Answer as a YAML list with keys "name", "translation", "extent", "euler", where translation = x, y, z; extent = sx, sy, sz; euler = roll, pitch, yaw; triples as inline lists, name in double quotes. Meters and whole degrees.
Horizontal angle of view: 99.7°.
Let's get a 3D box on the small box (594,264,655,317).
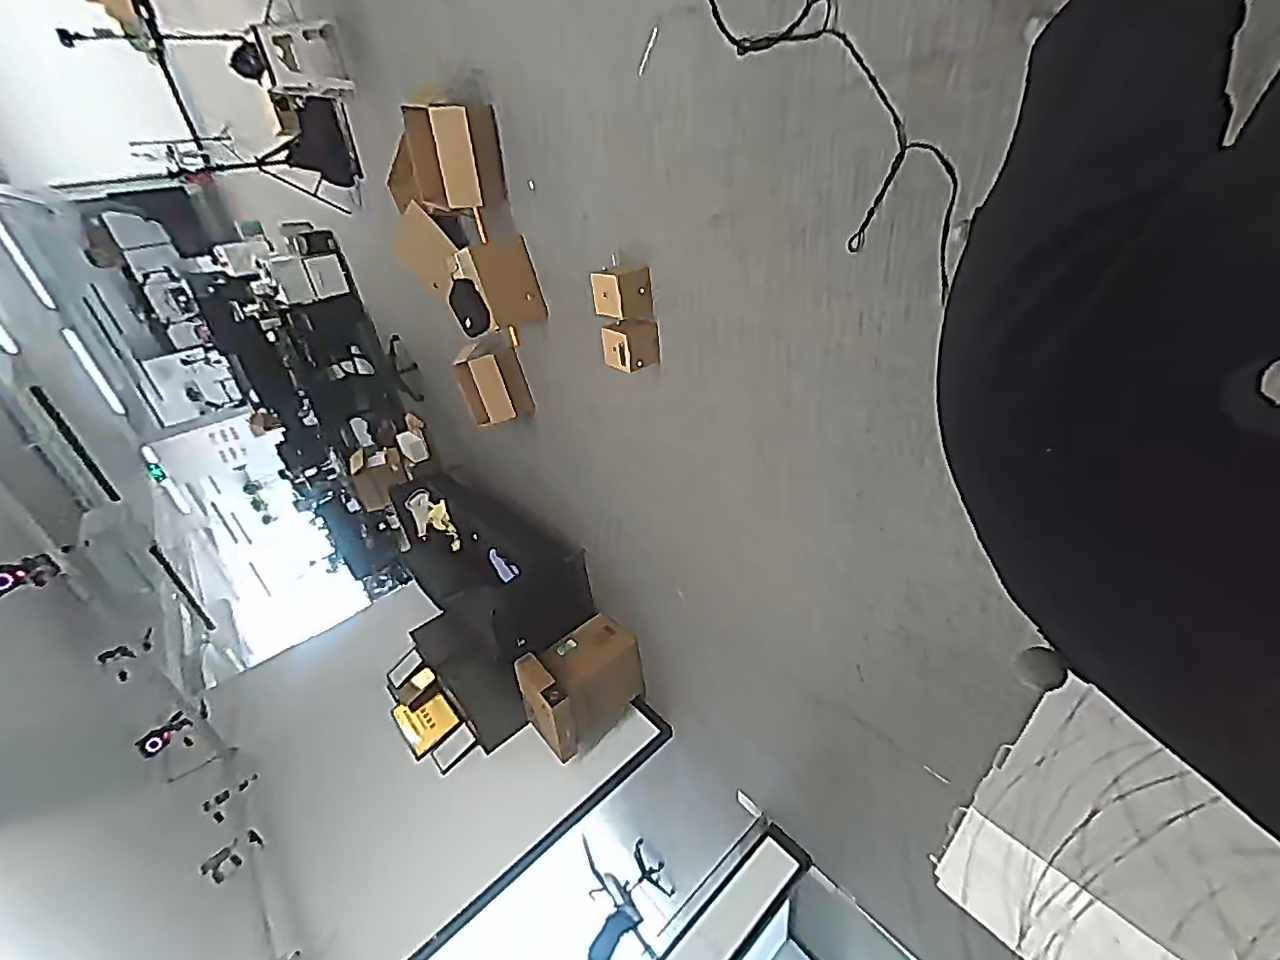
- name: "small box"
  translation: [-0.059, -0.774, 2.195]
  extent: [0.179, 0.176, 0.168]
  euler: [27, 136, 43]
